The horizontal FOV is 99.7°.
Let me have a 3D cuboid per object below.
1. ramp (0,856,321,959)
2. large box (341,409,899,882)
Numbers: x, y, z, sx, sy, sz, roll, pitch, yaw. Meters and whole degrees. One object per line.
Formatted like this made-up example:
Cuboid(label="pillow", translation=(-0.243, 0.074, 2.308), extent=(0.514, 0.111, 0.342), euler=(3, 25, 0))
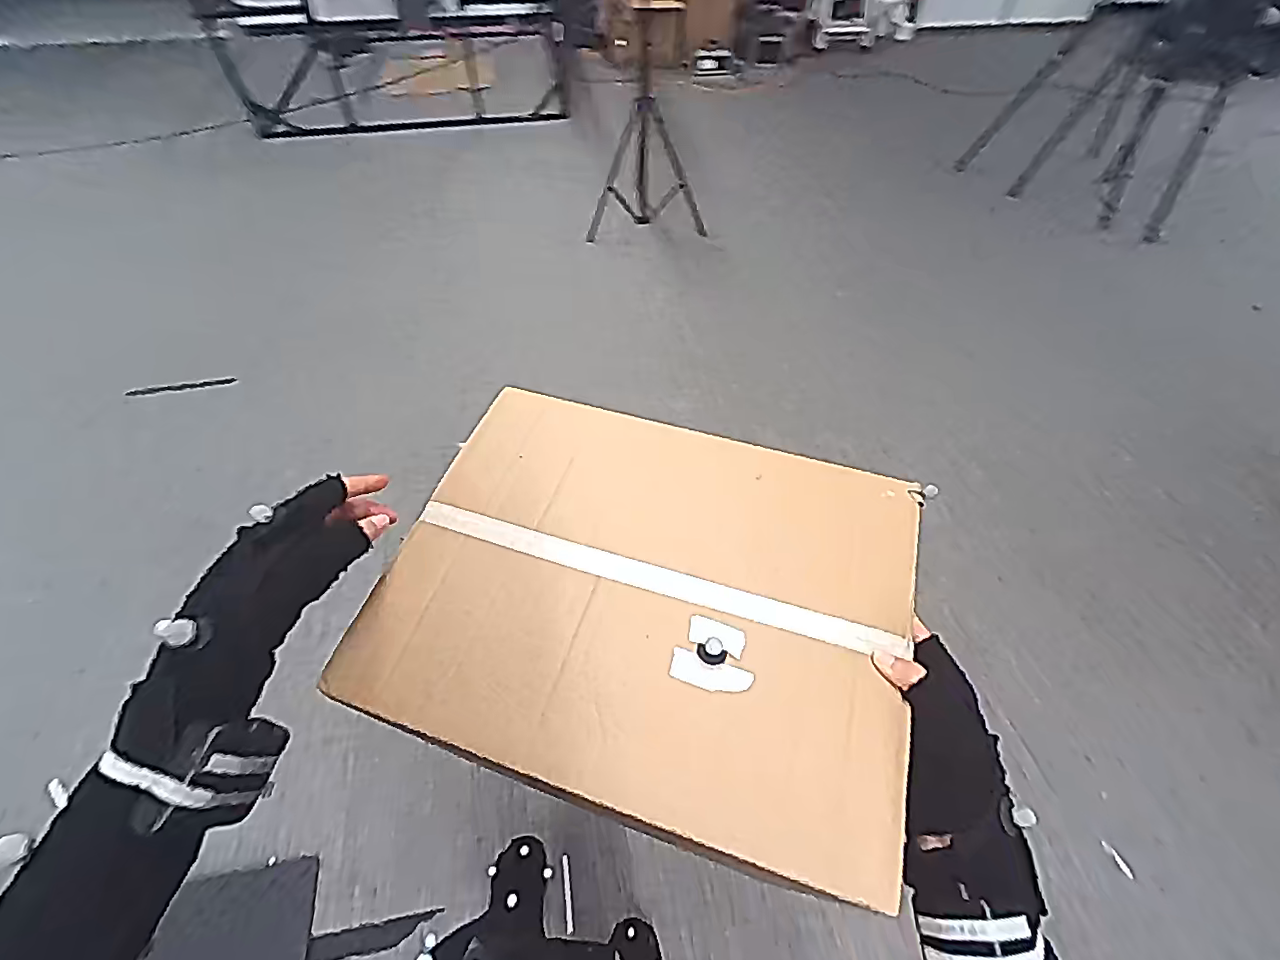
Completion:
Cuboid(label="ramp", translation=(-1.148, 1.044, 0.944), extent=(0.991, 0.206, 0.509), euler=(-9, 52, -8))
Cuboid(label="large box", translation=(0.007, 0.172, 0.574), extent=(0.408, 0.320, 0.320), euler=(14, 57, 11))
